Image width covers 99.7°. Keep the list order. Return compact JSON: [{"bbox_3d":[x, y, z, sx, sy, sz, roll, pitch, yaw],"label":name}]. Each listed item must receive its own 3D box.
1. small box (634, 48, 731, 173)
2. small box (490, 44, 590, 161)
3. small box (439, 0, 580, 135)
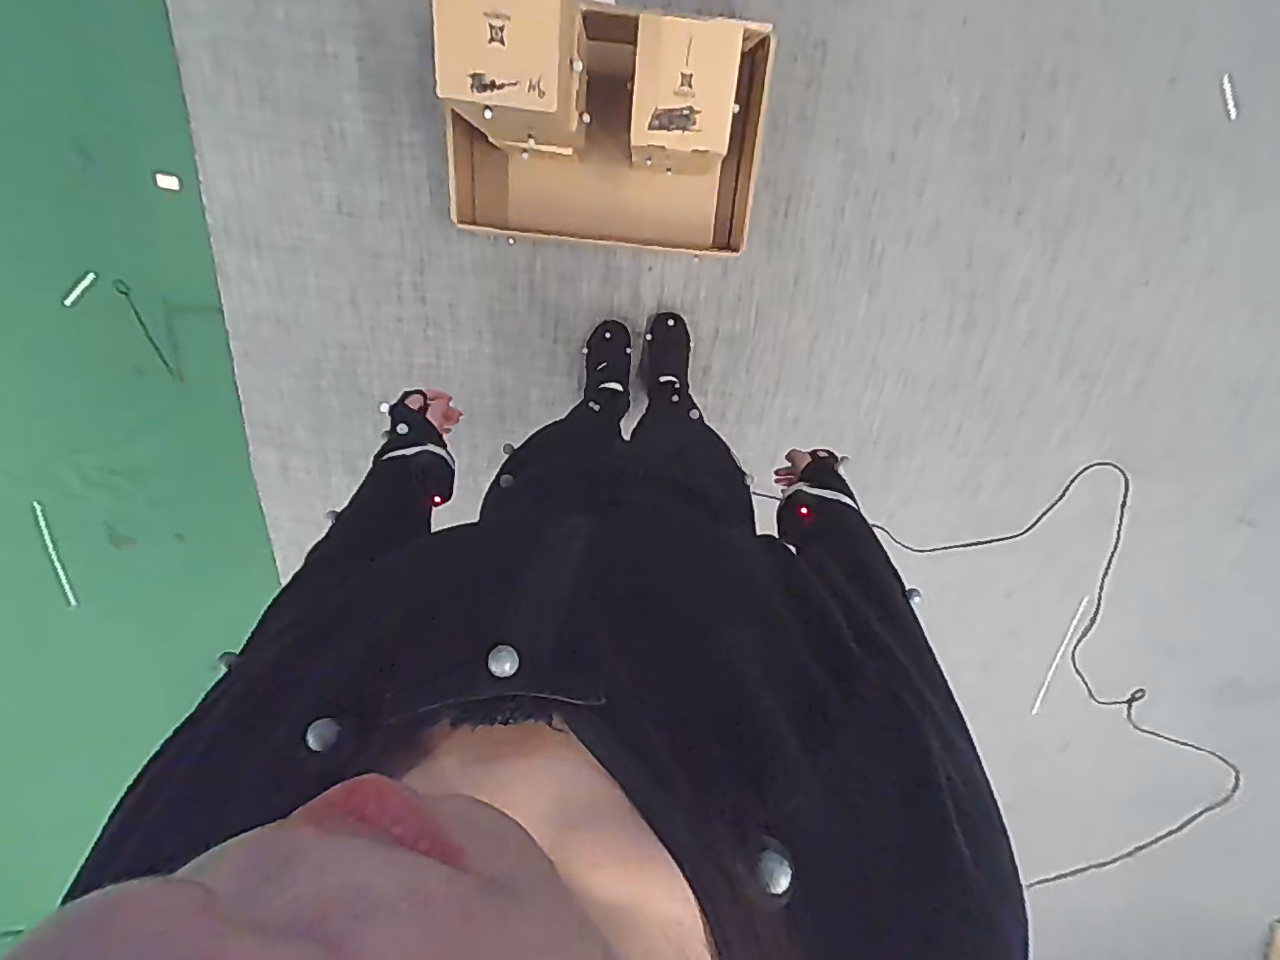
[{"bbox_3d":[0.079,-0.730,1.088,0.168,0.176,0.179,5,114,-2],"label":"small box"},{"bbox_3d":[-0.194,-0.755,1.078,0.168,0.176,0.179,8,113,-5],"label":"small box"},{"bbox_3d":[-0.179,-0.624,0.776,0.168,0.176,0.179,7,113,-3],"label":"small box"}]
